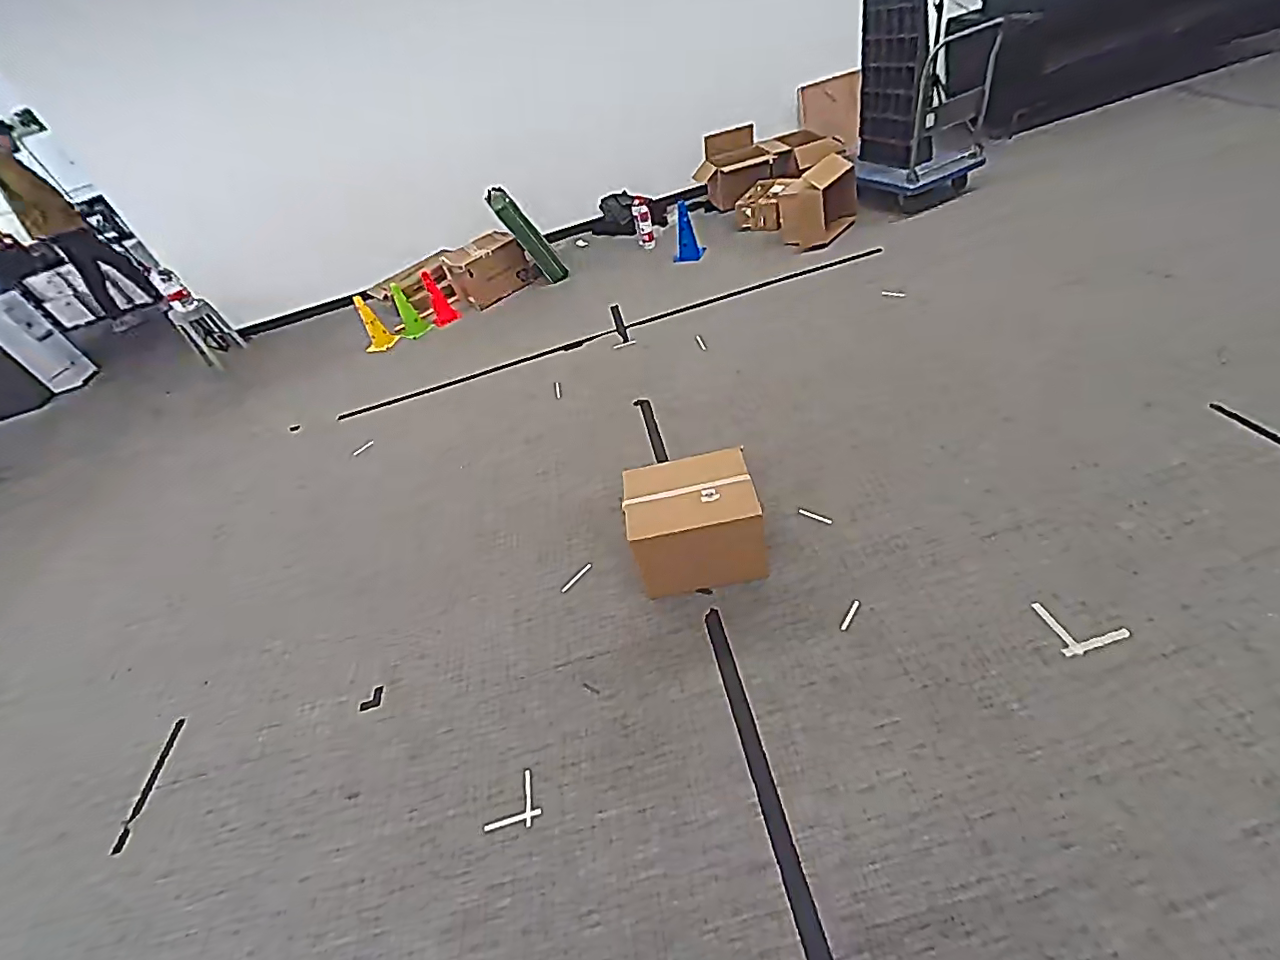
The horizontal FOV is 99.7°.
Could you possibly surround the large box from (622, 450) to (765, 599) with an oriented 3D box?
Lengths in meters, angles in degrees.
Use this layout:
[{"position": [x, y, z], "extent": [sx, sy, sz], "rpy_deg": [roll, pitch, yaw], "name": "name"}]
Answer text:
[{"position": [0.174, 0.149, 1.778], "extent": [0.408, 0.320, 0.320], "rpy_deg": [-11, 43, 5], "name": "large box"}]
